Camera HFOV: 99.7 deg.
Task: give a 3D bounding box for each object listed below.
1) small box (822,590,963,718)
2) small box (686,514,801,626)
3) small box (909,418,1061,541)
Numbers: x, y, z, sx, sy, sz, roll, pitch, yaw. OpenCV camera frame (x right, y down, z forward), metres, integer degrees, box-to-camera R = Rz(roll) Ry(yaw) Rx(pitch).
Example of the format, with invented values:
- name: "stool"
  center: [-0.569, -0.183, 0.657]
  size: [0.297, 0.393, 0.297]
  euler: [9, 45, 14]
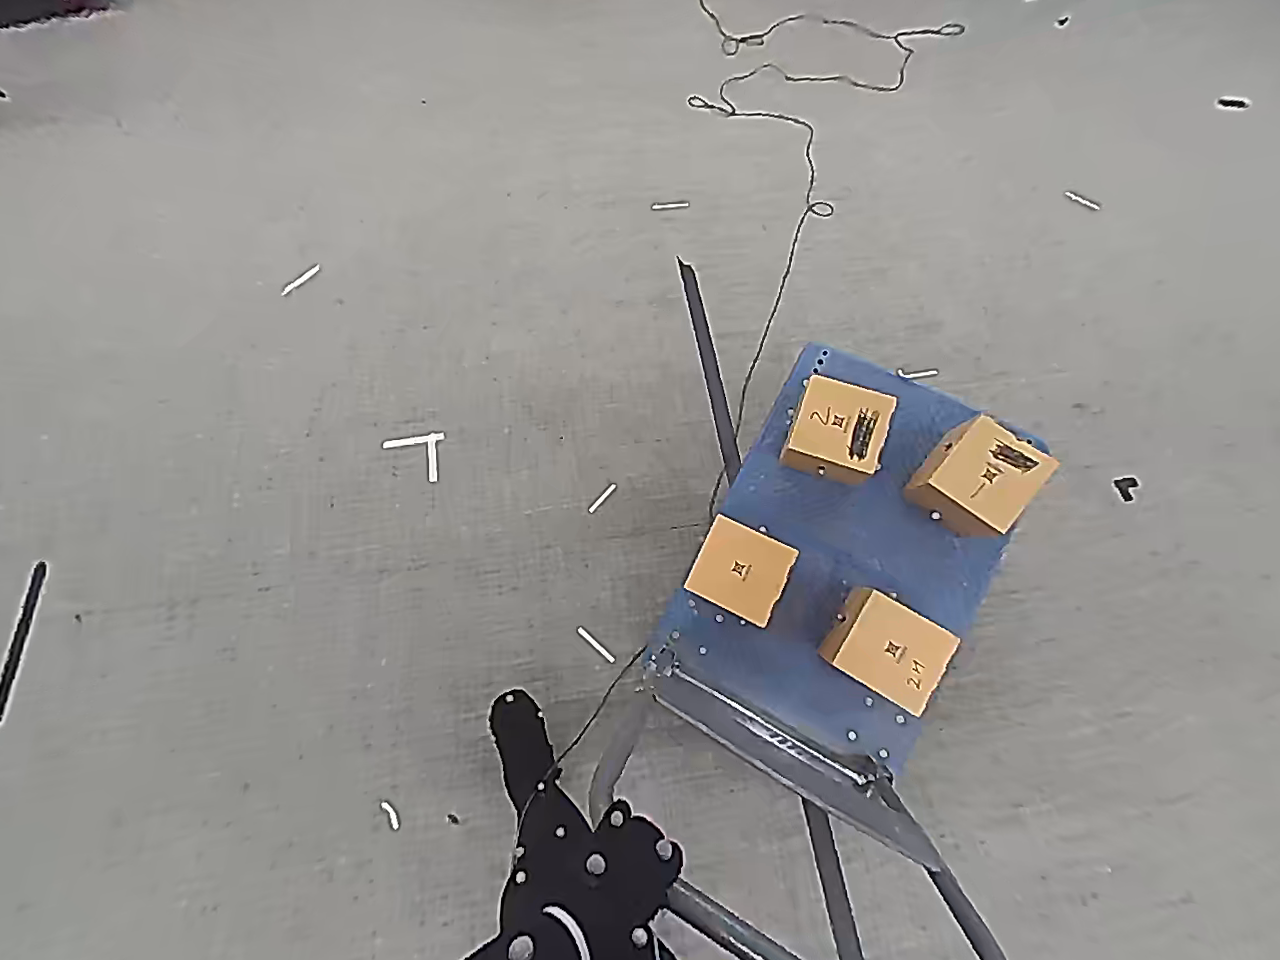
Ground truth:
- name: "small box"
  center: [0.485, 0.335, 1.073]
  size: [0.179, 0.176, 0.168]
  euler: [31, 86, 12]
- name: "small box"
  center: [0.211, 0.190, 1.137]
  size: [0.179, 0.176, 0.168]
  euler: [26, 84, 10]
- name: "small box"
  center: [0.686, 0.006, 1.101]
  size: [0.168, 0.176, 0.179]
  euler: [39, 88, 12]
